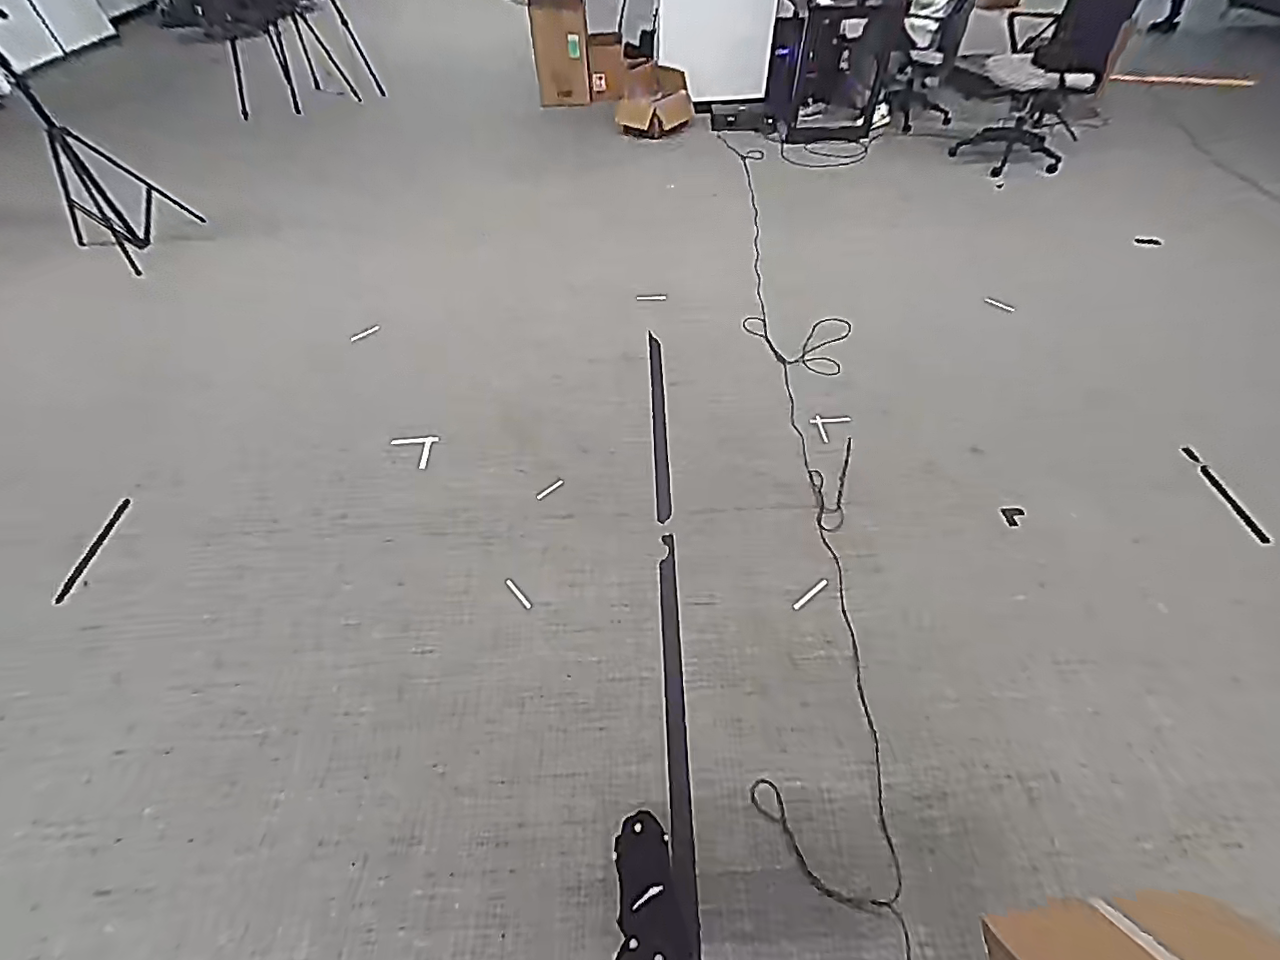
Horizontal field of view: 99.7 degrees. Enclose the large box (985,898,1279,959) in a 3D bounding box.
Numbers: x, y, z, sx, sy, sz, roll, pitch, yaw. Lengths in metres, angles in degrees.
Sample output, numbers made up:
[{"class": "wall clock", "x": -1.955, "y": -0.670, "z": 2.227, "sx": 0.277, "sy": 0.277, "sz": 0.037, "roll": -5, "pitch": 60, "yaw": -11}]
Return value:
[{"class": "large box", "x": 0.639, "y": 0.711, "z": 0.539, "sx": 0.320, "sy": 0.408, "sz": 0.320, "roll": -9, "pitch": 79, "yaw": 4}]
